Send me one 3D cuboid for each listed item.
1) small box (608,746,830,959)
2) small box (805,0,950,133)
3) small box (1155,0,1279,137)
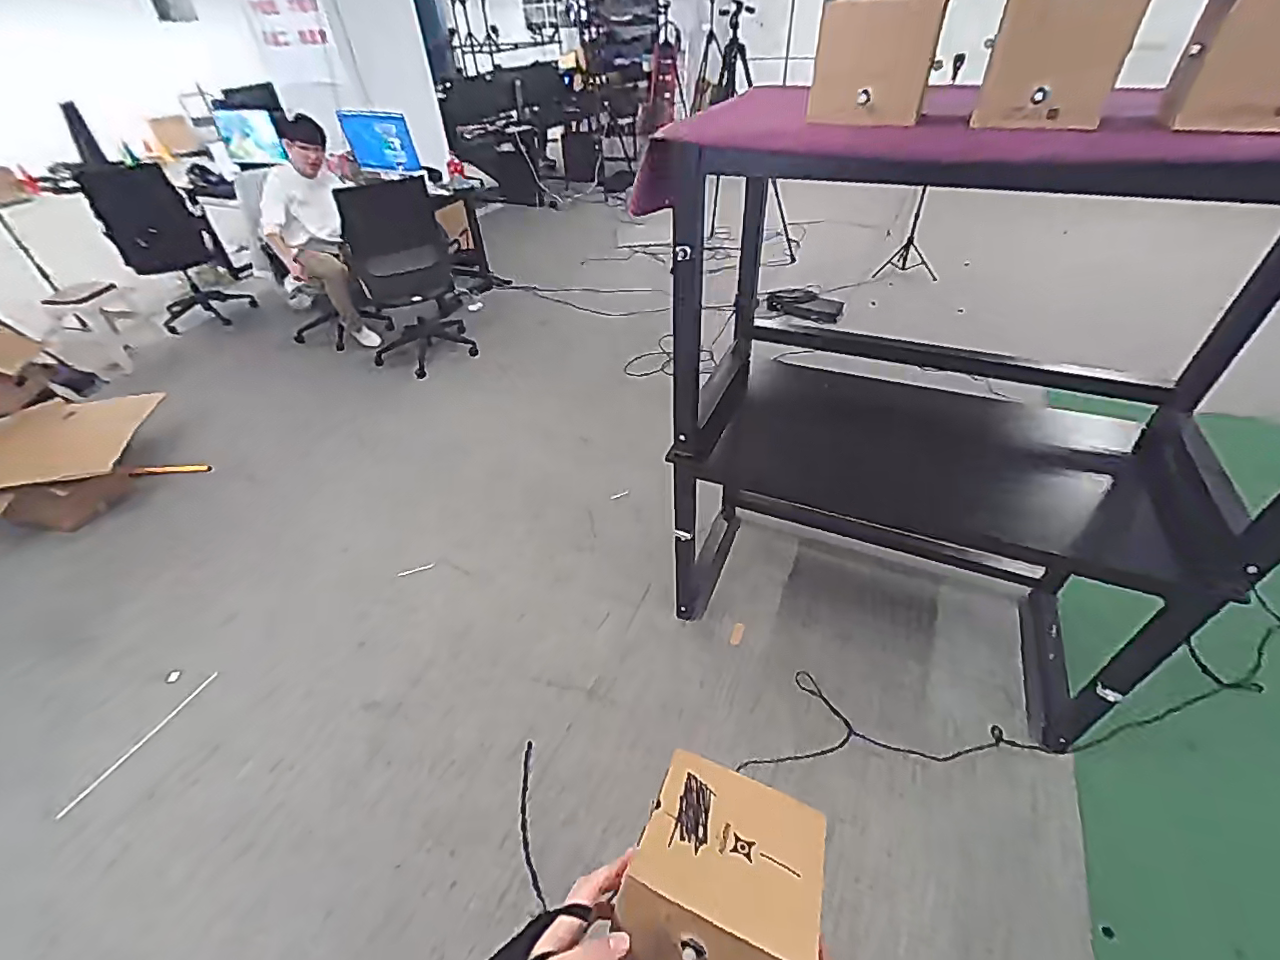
[{"bbox_3d":[0.082,0.429,0.563,0.179,0.176,0.168,18,21,17],"label":"small box"},{"bbox_3d":[0.392,-0.692,0.905,0.179,0.176,0.168,16,44,20],"label":"small box"},{"bbox_3d":[0.849,-0.571,0.728,0.168,0.176,0.179,18,44,23],"label":"small box"}]
